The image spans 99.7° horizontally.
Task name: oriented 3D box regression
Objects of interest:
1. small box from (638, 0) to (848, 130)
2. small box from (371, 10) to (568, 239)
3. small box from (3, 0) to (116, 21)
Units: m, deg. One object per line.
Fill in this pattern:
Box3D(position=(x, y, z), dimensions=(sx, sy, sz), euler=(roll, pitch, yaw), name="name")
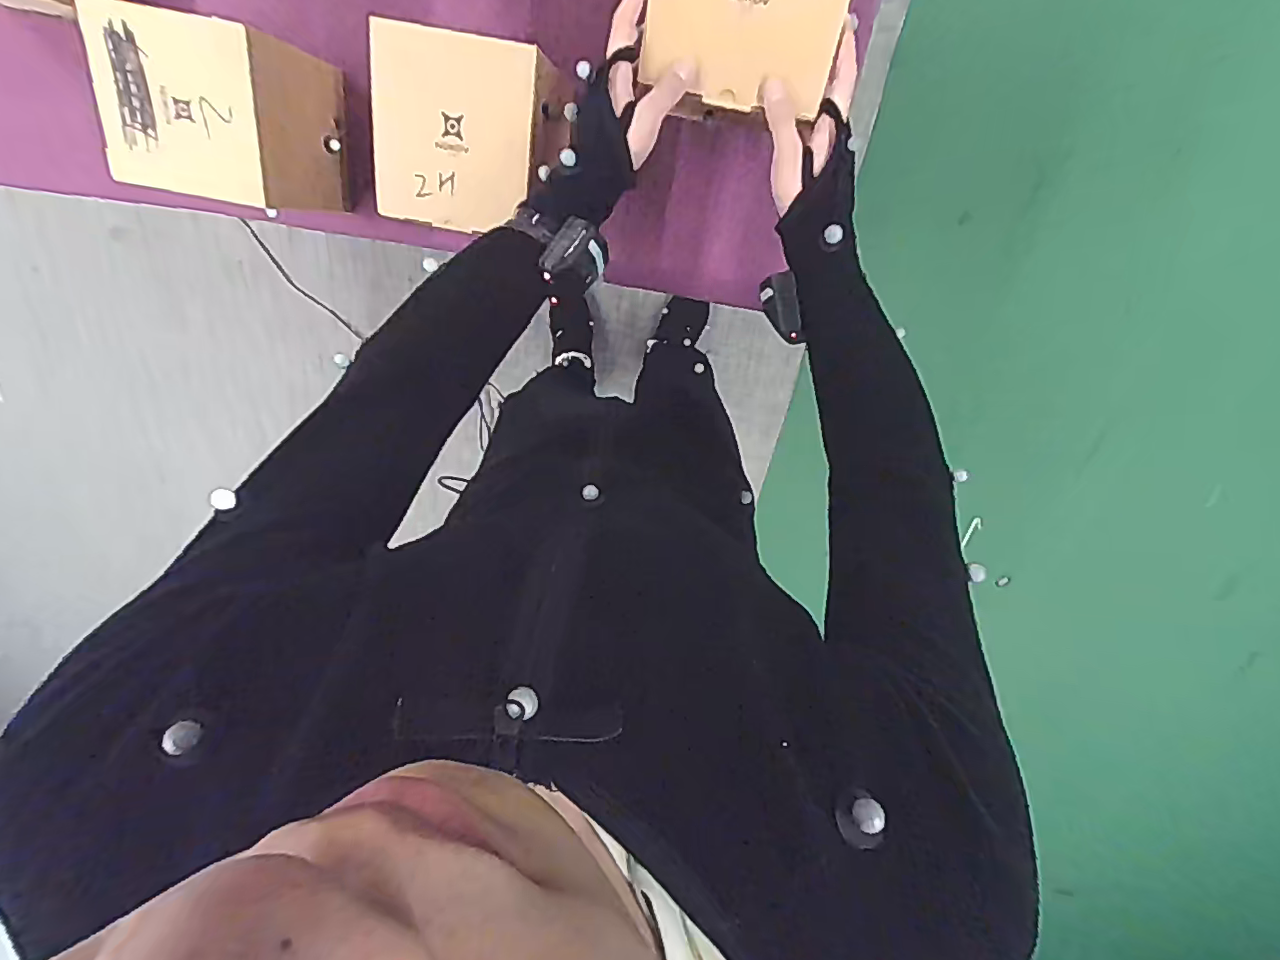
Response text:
Box3D(position=(0.098, -0.451, 0.507), dimensions=(0.168, 0.176, 0.179), euler=(11, 120, 0), name="small box")
Box3D(position=(-0.184, -0.386, 0.620), dimensions=(0.168, 0.176, 0.179), euler=(11, 116, 1), name="small box")
Box3D(position=(-0.713, -0.623, 0.558), dimensions=(0.168, 0.176, 0.179), euler=(11, 116, 2), name="small box")
